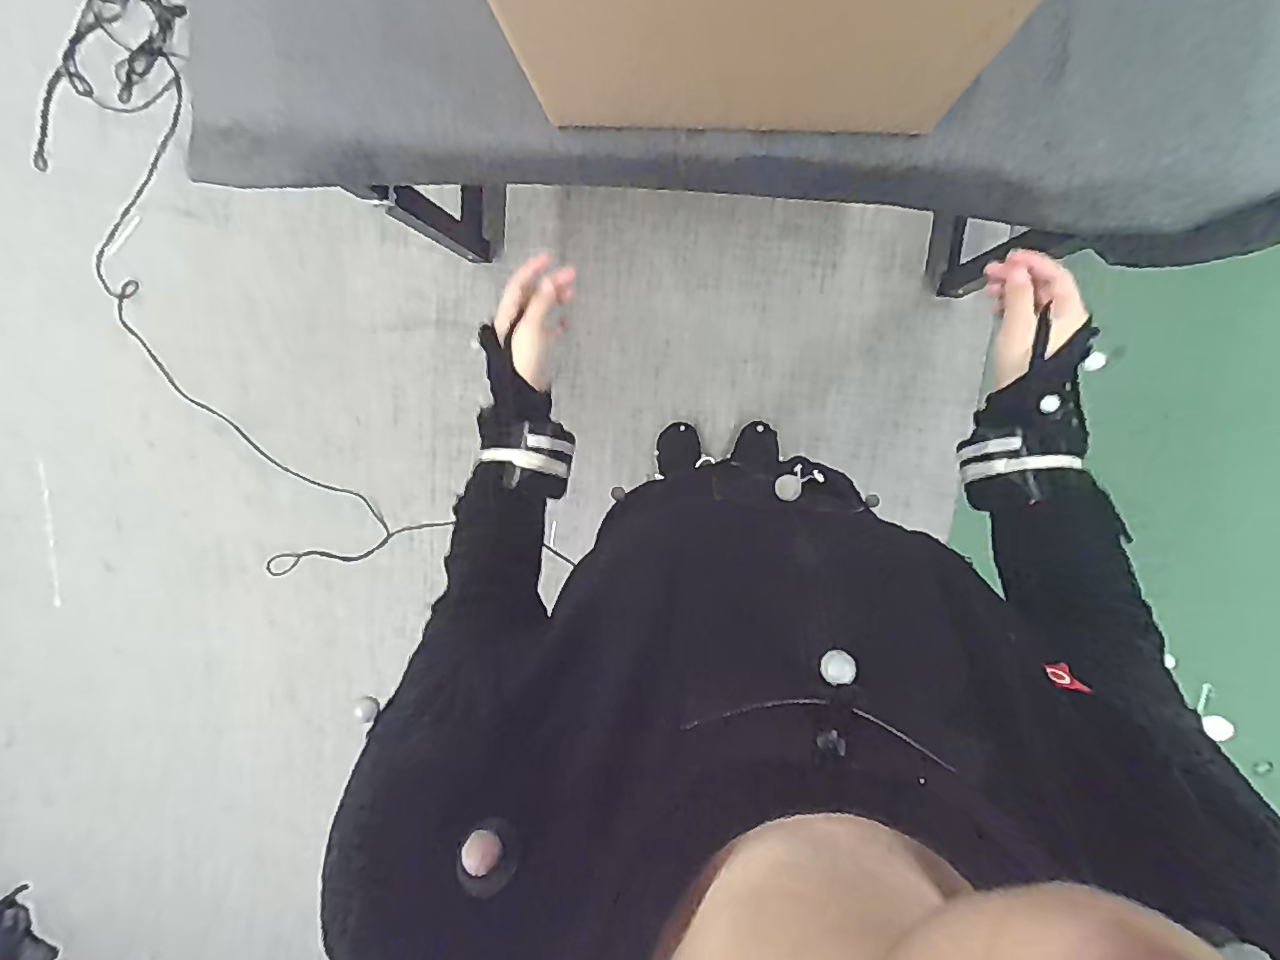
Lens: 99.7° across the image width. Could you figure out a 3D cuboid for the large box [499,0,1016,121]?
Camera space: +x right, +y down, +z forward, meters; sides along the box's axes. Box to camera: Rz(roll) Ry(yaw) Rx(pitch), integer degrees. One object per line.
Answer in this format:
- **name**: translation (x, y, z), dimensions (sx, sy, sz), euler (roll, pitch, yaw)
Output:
- **large box**: translation (0.091, -0.514, 0.409), dimensions (0.408, 0.320, 0.320), euler (4, 98, 5)
